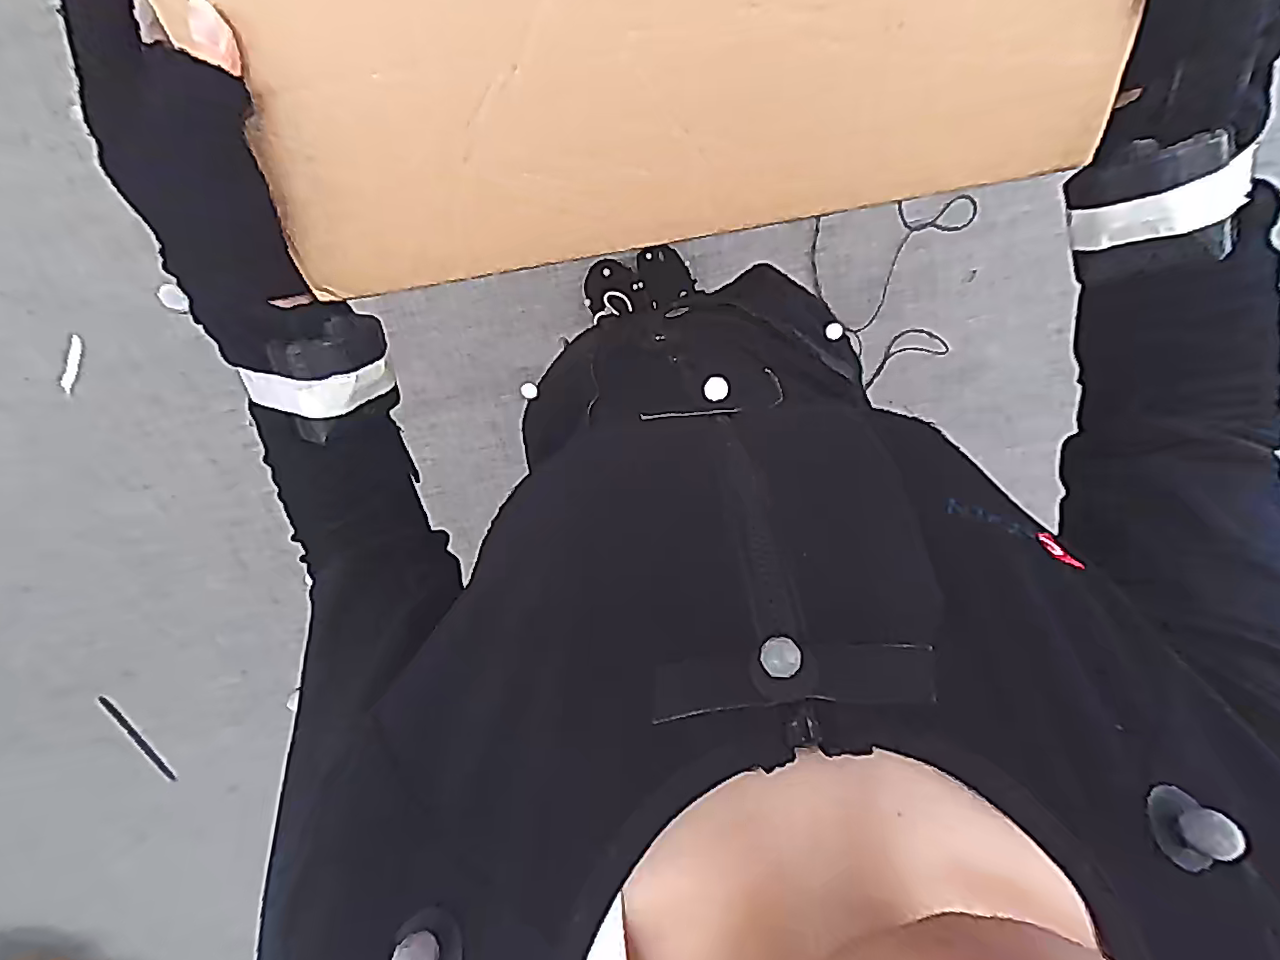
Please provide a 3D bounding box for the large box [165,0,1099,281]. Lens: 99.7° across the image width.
[{"bbox_3d":[-0.012,-0.351,0.301,0.408,0.320,0.320,-9,130,2],"label":"large box"}]
